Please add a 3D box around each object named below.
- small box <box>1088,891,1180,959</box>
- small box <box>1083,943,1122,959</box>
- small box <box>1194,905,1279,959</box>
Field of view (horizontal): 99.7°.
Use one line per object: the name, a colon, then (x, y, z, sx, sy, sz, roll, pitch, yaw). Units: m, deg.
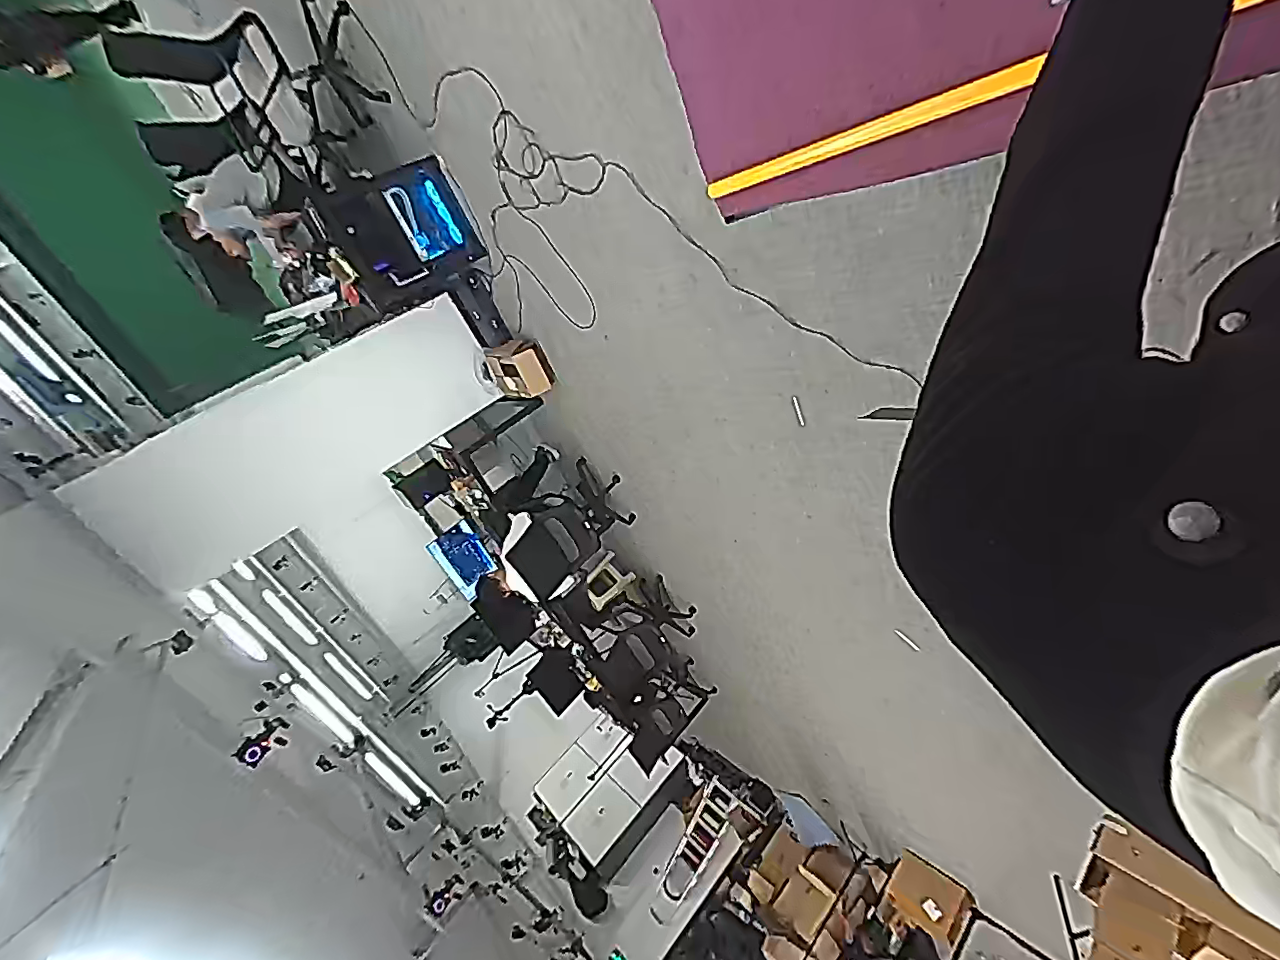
small box: (1.511, 1.422, 1.656, 0.179, 0.176, 0.168, 17, 140, 48)
small box: (1.400, 1.523, 1.588, 0.168, 0.176, 0.179, 21, 144, 42)
small box: (1.770, 1.382, 1.568, 0.179, 0.176, 0.168, 23, 145, 44)
